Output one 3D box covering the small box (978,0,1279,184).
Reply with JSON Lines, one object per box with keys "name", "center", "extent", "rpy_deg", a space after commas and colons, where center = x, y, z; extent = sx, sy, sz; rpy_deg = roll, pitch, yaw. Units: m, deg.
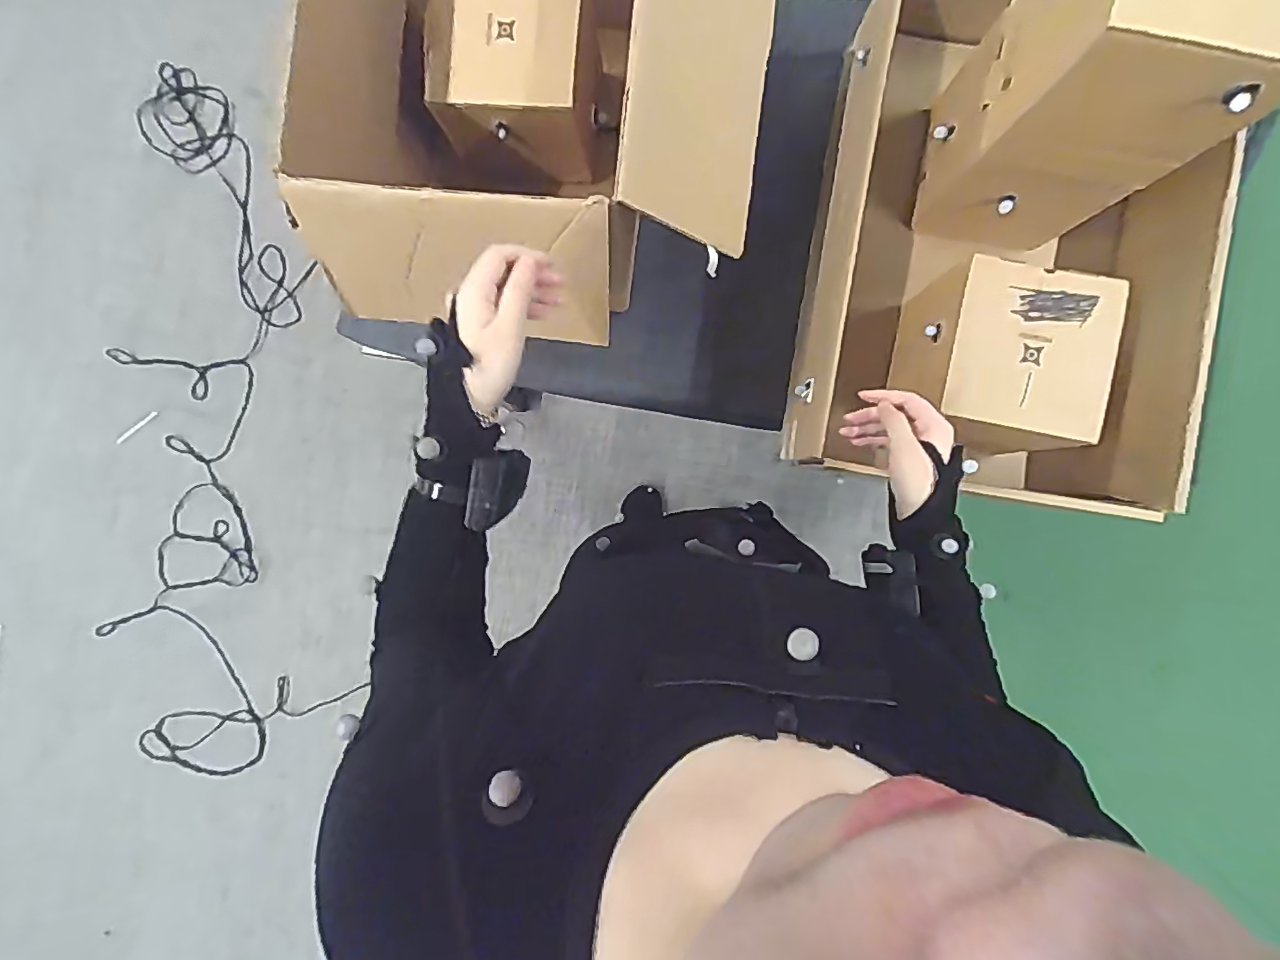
{"name": "small box", "center": [0.446, -0.398, 0.485], "extent": [0.179, 0.176, 0.168], "rpy_deg": [12, 92, 1]}
